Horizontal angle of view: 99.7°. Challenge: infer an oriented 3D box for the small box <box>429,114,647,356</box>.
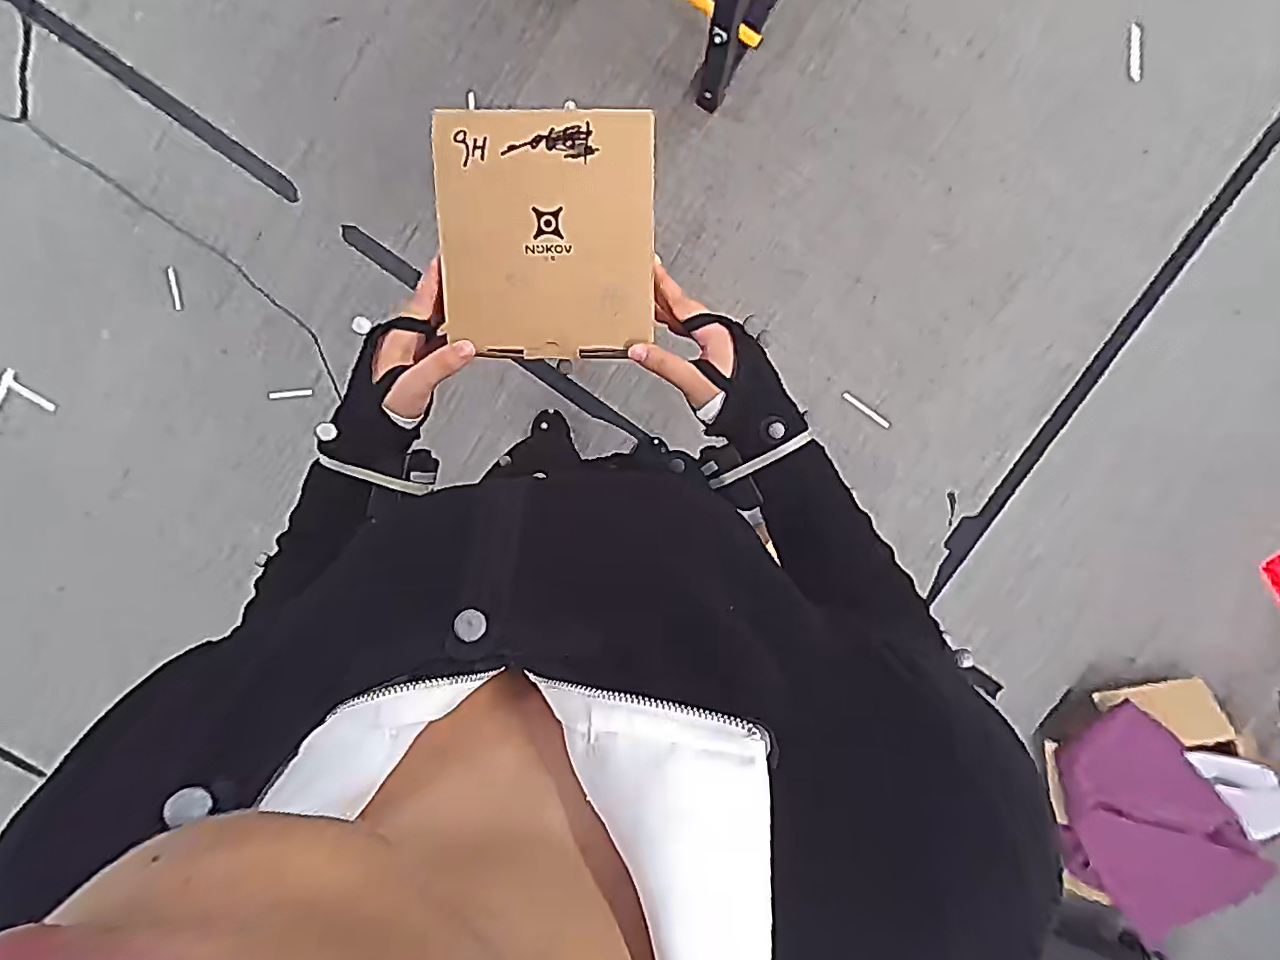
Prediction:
[{"bbox_3d":[-0.077,-0.205,0.500,0.168,0.176,0.179,-1,102,-1],"label":"small box"}]
